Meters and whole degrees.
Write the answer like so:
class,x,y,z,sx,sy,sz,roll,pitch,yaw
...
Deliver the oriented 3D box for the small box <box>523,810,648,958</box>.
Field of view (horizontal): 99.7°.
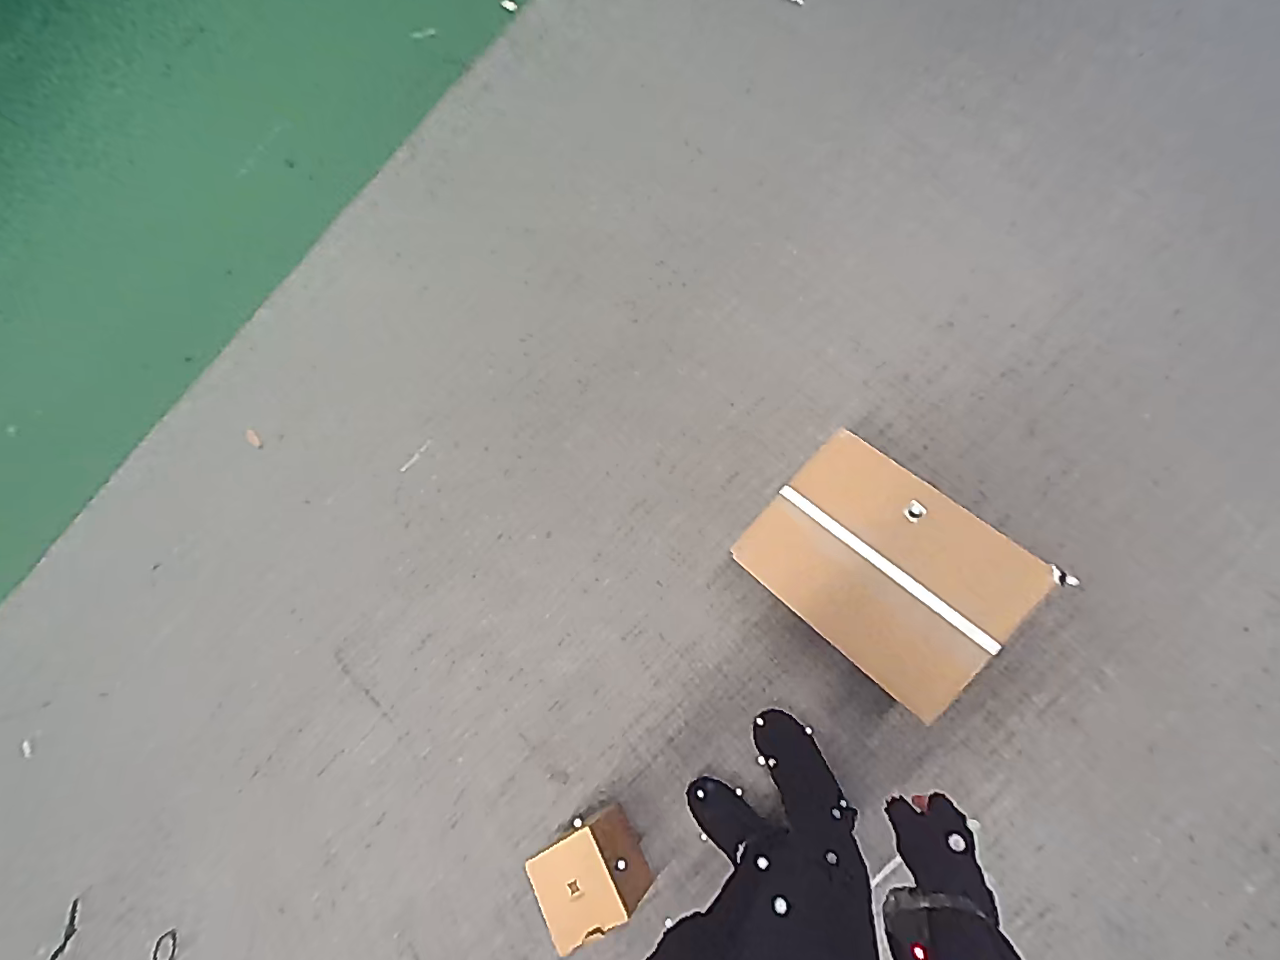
class,x,y,z,sx,sy,sz,roll,pitch,yaw
small box,-0.108,0.827,1.134,0.168,0.176,0.179,-35,69,7
